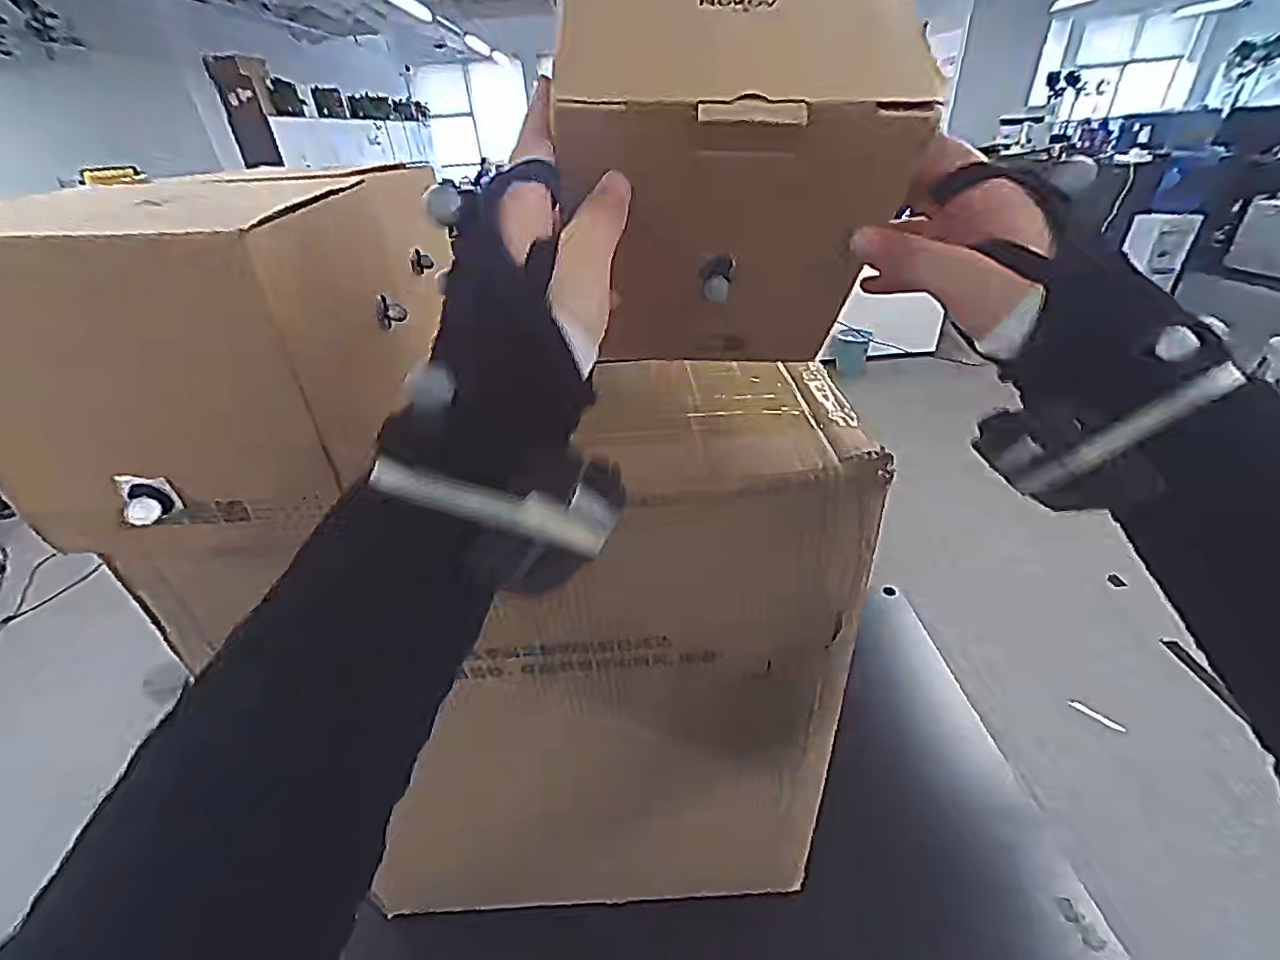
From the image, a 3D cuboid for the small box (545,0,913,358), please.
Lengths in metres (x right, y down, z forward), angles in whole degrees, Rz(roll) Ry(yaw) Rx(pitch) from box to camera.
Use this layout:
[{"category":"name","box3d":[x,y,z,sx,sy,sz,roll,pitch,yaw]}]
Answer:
[{"category":"small box","box3d":[0.039,-0.194,0.343,0.168,0.176,0.179,0,64,-1]}]

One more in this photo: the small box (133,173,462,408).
[{"category":"small box","box3d":[-0.277,-0.176,0.494,0.168,0.176,0.179,-2,33,3]}]
